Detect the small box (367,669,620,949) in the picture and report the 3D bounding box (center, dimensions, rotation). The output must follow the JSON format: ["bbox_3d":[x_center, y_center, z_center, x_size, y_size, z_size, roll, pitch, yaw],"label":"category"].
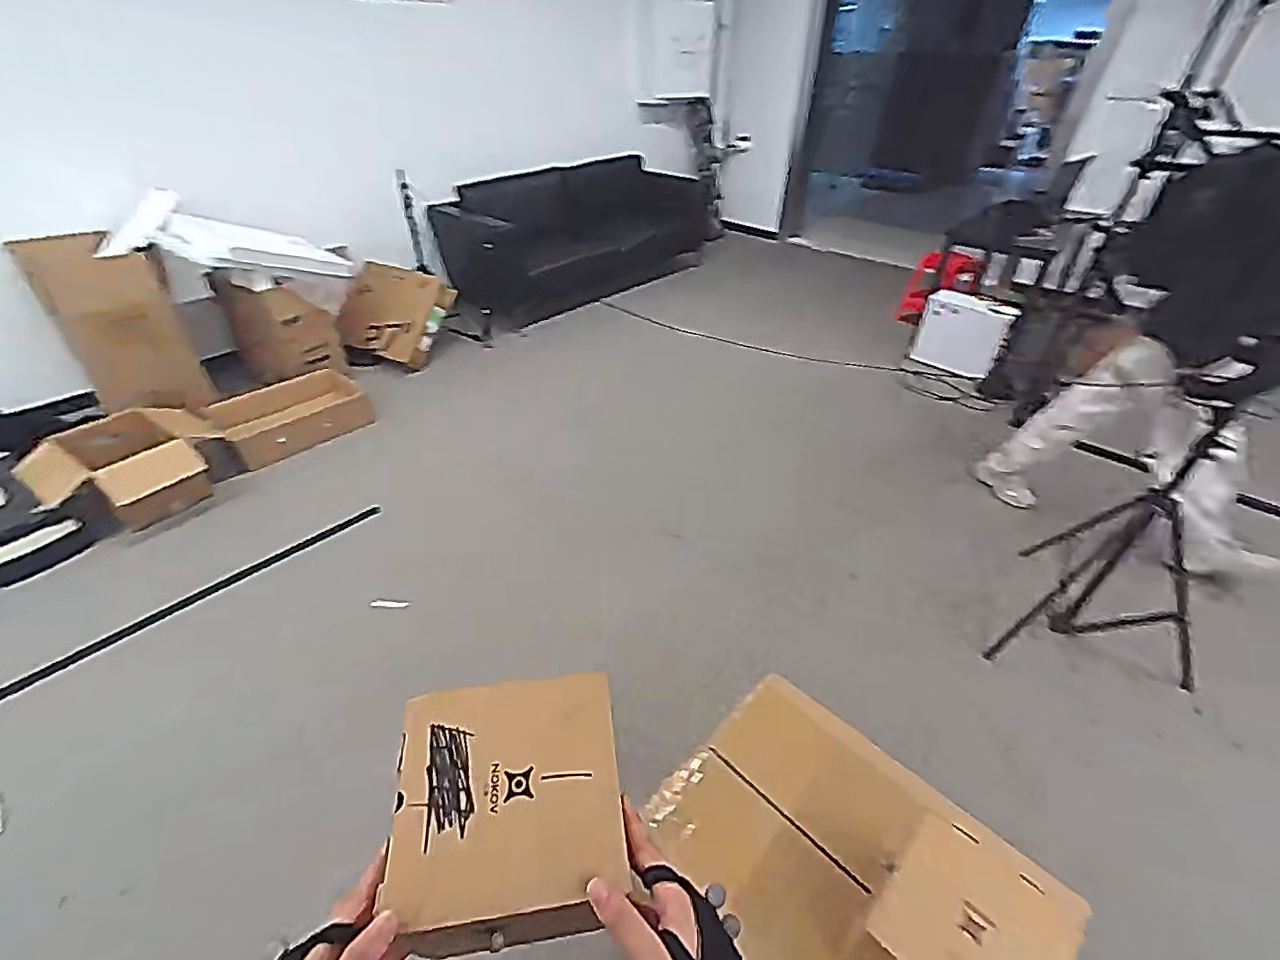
[{"bbox_3d":[-0.113,0.295,0.487,0.179,0.176,0.168,-5,45,-8],"label":"small box"}]

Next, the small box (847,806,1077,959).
[{"bbox_3d":[0.369,0.547,0.644,0.168,0.176,0.179,30,49,35],"label":"small box"}]
